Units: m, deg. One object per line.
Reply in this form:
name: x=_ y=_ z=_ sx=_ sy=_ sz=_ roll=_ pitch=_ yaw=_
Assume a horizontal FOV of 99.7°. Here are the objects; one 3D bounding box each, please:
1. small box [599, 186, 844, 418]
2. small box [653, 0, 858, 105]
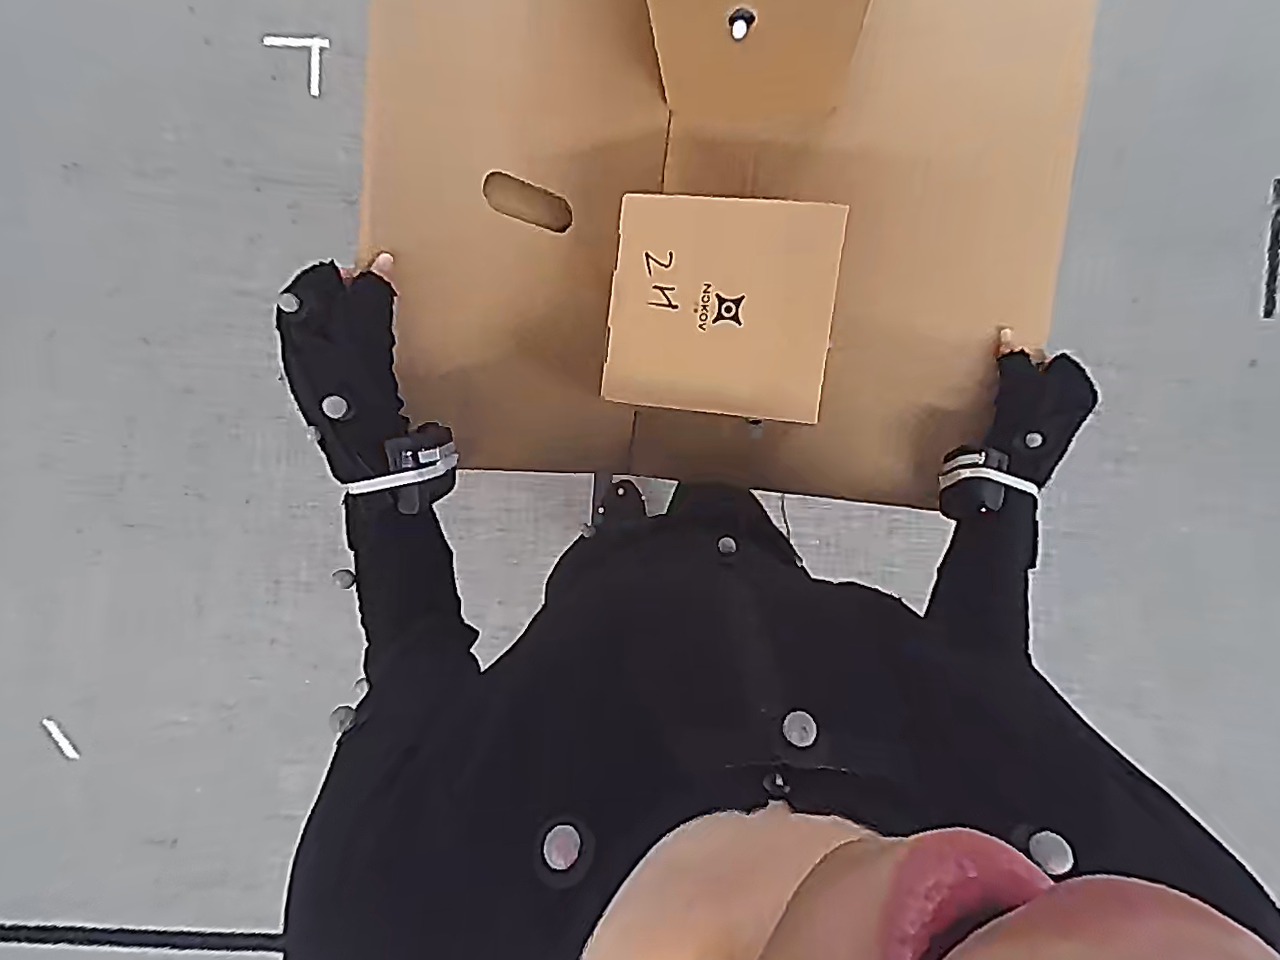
small box: x=0.074 y=-0.151 z=0.510 sx=0.179 sy=0.176 sz=0.168 roll=9 pitch=95 yaw=9
small box: x=0.107 y=-0.467 z=0.481 sx=0.179 sy=0.176 sz=0.168 roll=6 pitch=95 yaw=9
